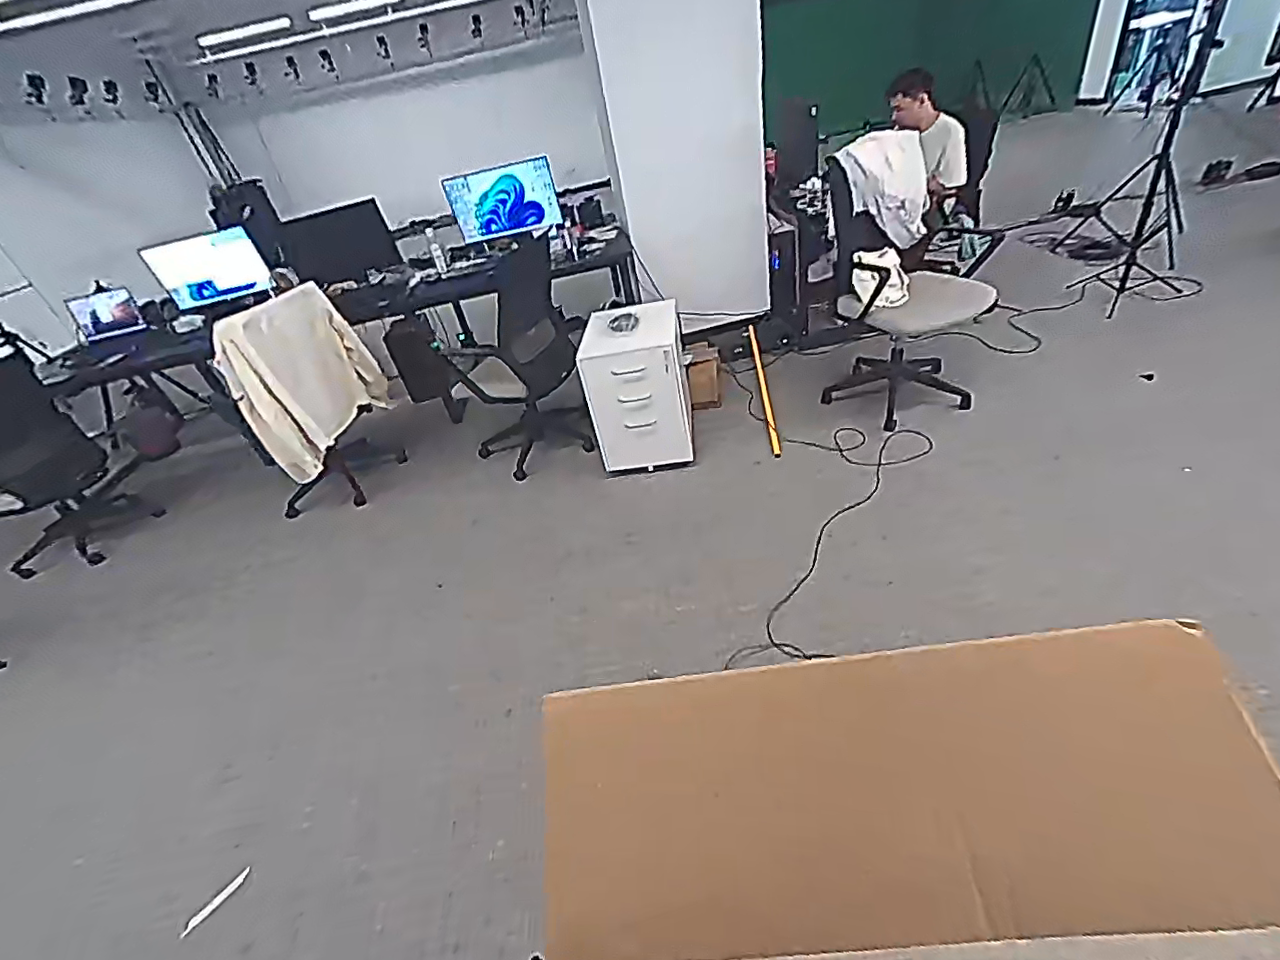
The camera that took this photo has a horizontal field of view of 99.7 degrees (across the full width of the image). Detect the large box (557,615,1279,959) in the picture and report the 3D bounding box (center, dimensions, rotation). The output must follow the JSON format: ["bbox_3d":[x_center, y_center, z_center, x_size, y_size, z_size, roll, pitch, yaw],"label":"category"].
[{"bbox_3d":[0.176,0.319,0.422,0.408,0.320,0.320,-10,63,7],"label":"large box"}]
